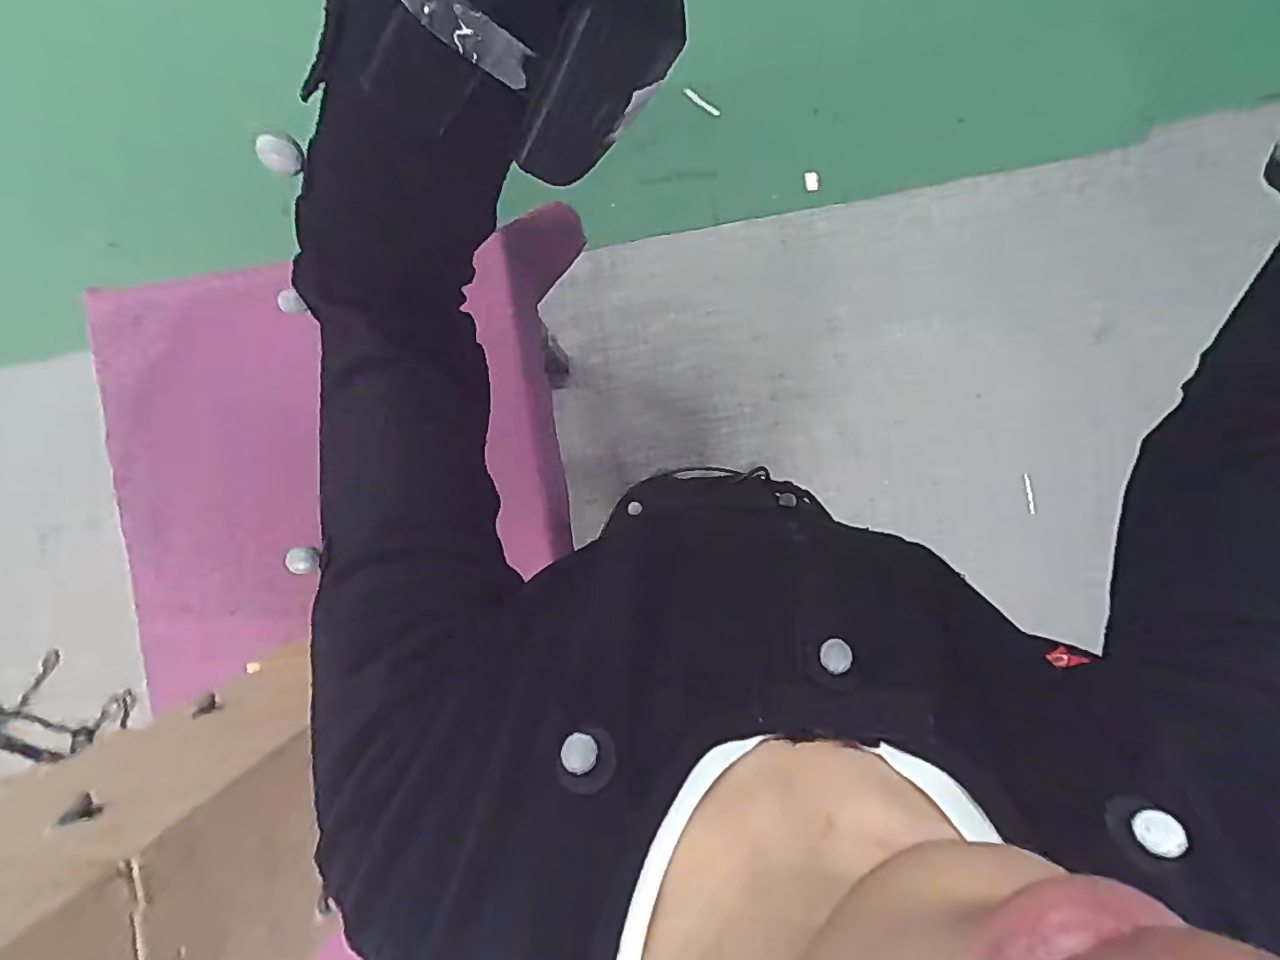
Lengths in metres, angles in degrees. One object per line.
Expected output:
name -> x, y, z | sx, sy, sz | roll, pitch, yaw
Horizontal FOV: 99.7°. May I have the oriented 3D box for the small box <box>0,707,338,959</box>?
small box -> -0.328, 0.268, 0.358 | 0.179, 0.176, 0.168 | -6, 90, 2
